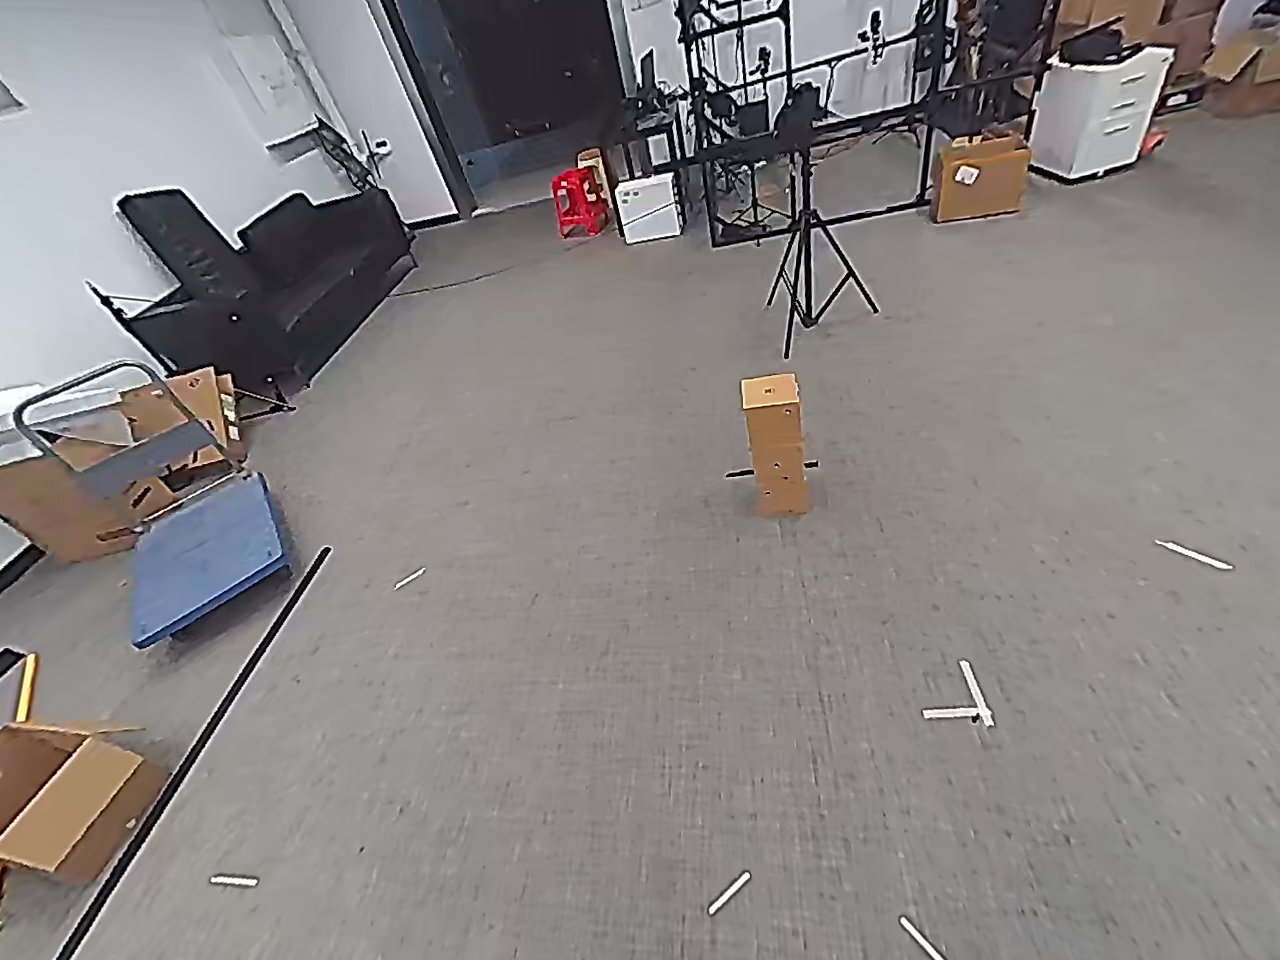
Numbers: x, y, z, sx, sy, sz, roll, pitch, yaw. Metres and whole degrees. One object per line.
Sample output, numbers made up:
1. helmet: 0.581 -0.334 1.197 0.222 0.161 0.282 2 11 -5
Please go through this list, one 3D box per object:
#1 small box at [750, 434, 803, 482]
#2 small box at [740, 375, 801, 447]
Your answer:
1. small box: 0.479 -0.105 1.891 0.168 0.176 0.179 -3 42 16
2. small box: 0.432 -0.223 1.789 0.179 0.176 0.168 -6 42 13
